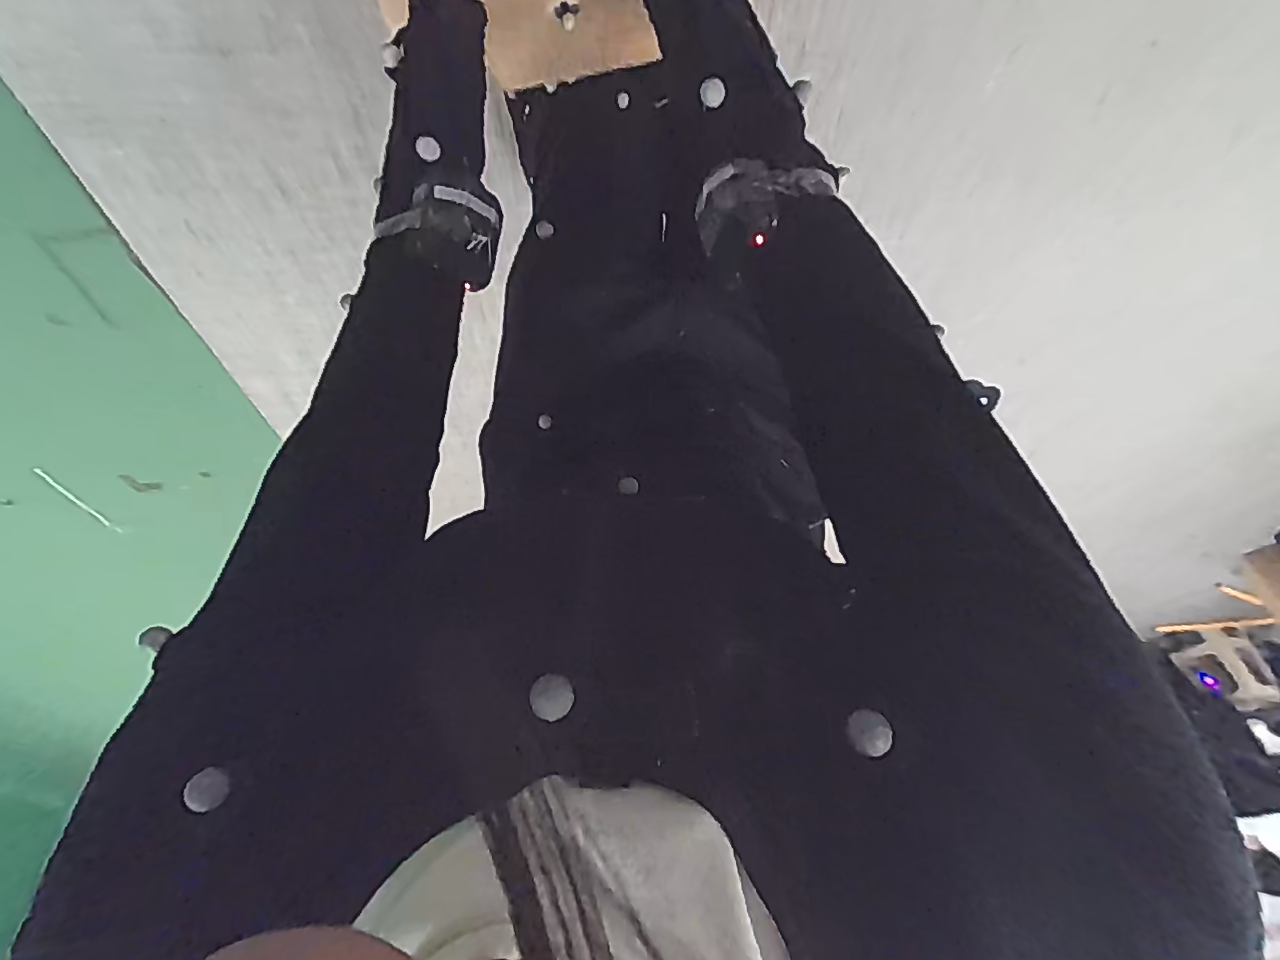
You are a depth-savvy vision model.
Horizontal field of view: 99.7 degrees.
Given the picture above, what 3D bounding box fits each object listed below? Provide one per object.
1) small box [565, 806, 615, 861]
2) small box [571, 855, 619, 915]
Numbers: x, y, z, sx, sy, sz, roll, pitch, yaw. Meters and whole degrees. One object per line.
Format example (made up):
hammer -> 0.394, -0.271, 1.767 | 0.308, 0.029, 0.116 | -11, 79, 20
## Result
small box -> -0.200, 1.438, 2.193 | 0.179, 0.176, 0.168 | -8, 142, 3
small box -> -0.175, 1.568, 2.097 | 0.168, 0.176, 0.179 | -7, 142, -1
